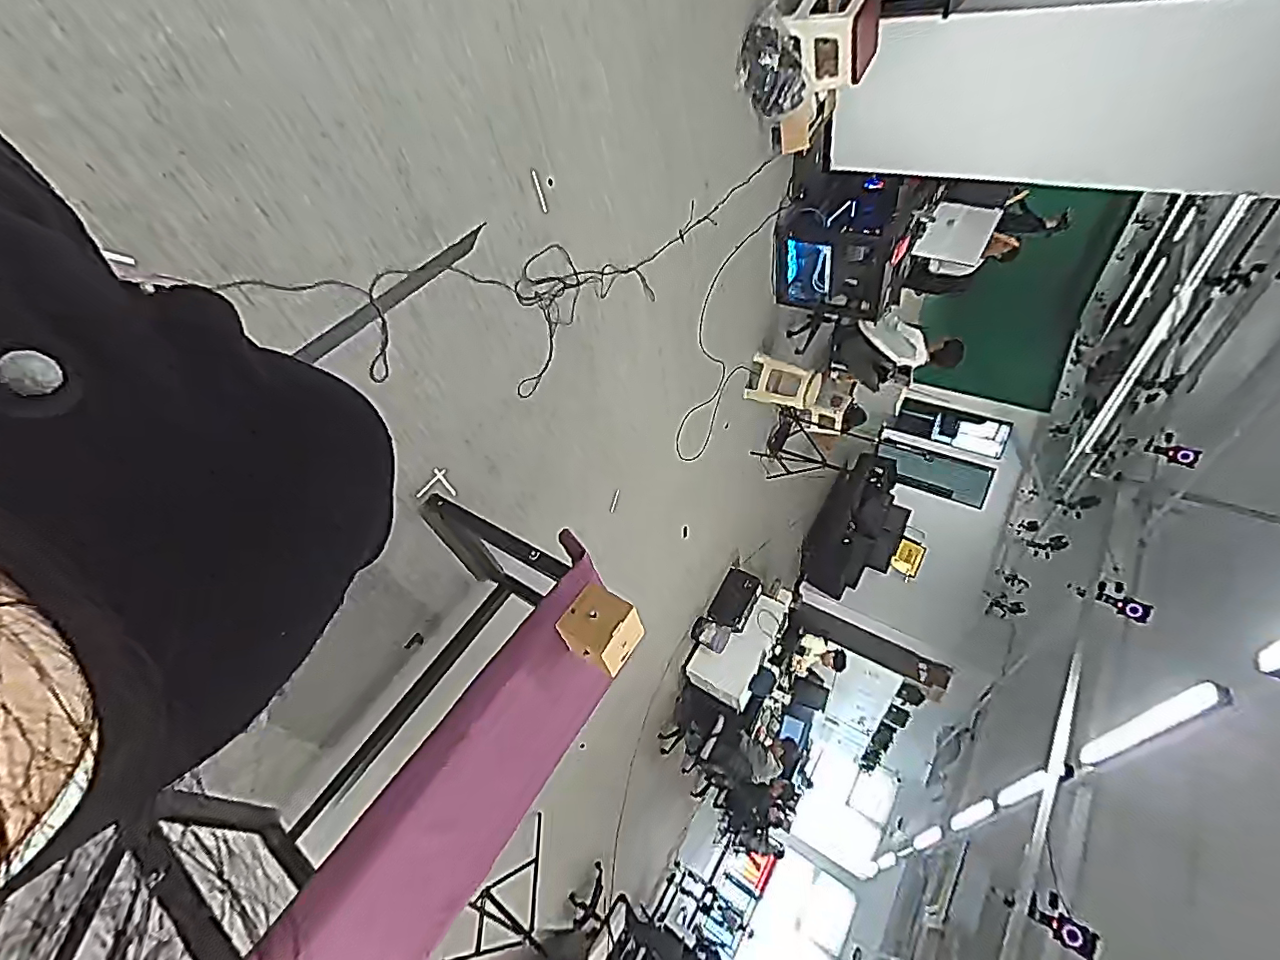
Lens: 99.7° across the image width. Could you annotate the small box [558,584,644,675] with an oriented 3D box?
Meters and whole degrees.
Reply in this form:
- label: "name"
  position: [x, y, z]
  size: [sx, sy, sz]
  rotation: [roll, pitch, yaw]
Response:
- label: "small box"
  position: [-0.114, 0.426, 1.571]
  size: [0.168, 0.176, 0.179]
  rotation: [-51, 147, -28]
